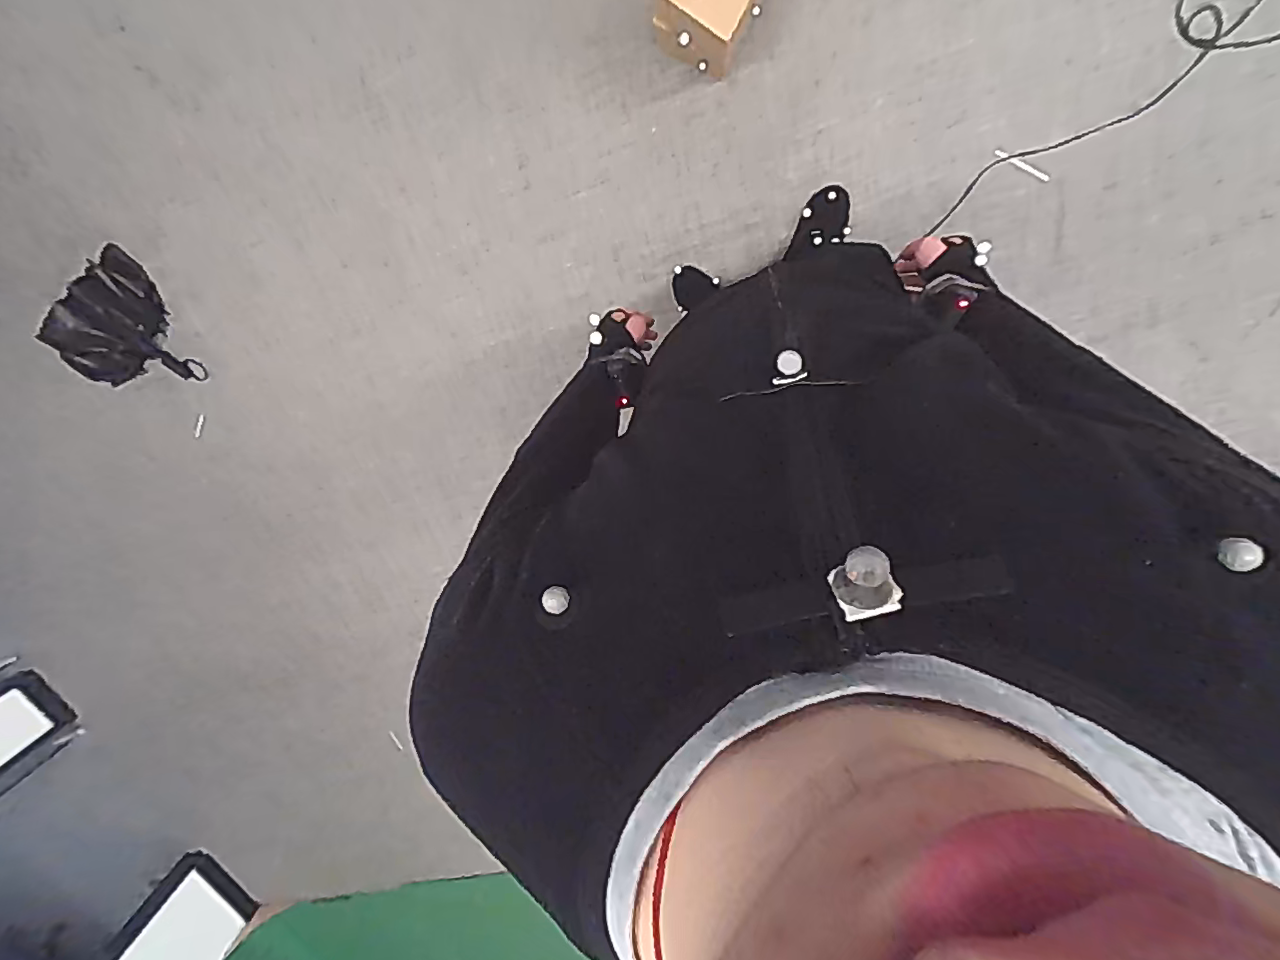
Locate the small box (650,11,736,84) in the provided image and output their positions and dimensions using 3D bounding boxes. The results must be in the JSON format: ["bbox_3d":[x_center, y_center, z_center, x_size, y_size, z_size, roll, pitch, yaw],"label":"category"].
[{"bbox_3d":[0.135,-0.971,1.125,0.168,0.176,0.179,23,113,-4],"label":"small box"}]

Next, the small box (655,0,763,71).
[{"bbox_3d":[0.133,-0.895,0.978,0.168,0.176,0.179,31,115,-7],"label":"small box"}]
